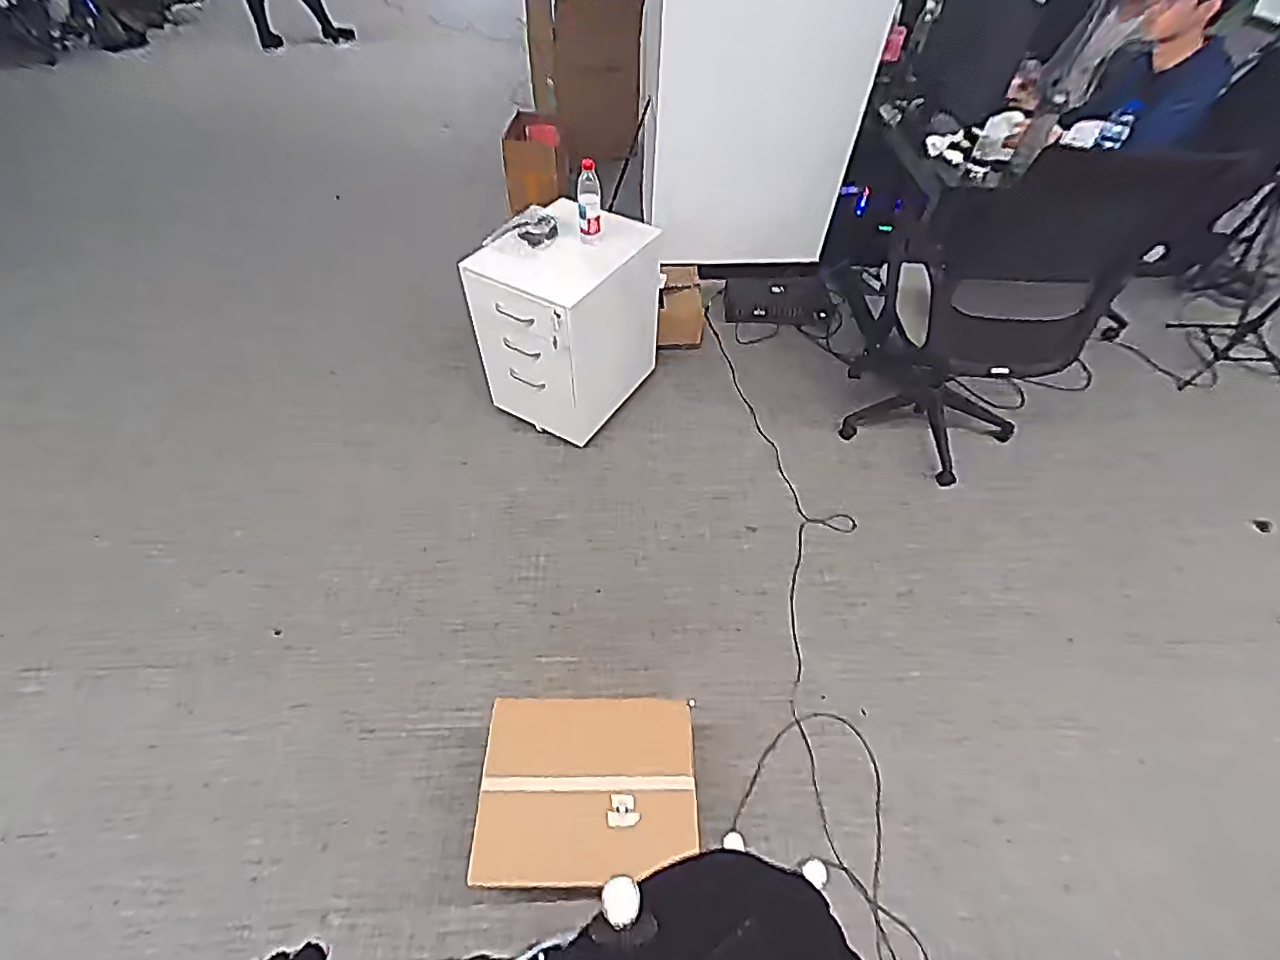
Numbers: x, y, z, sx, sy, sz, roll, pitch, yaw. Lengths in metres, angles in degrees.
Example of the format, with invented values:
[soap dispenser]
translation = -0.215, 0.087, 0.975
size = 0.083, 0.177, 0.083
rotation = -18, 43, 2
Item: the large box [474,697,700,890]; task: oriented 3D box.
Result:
[large box]
translation = -0.100, 0.668, 1.148
size = 0.408, 0.320, 0.320
rotation = 1, 52, -2
